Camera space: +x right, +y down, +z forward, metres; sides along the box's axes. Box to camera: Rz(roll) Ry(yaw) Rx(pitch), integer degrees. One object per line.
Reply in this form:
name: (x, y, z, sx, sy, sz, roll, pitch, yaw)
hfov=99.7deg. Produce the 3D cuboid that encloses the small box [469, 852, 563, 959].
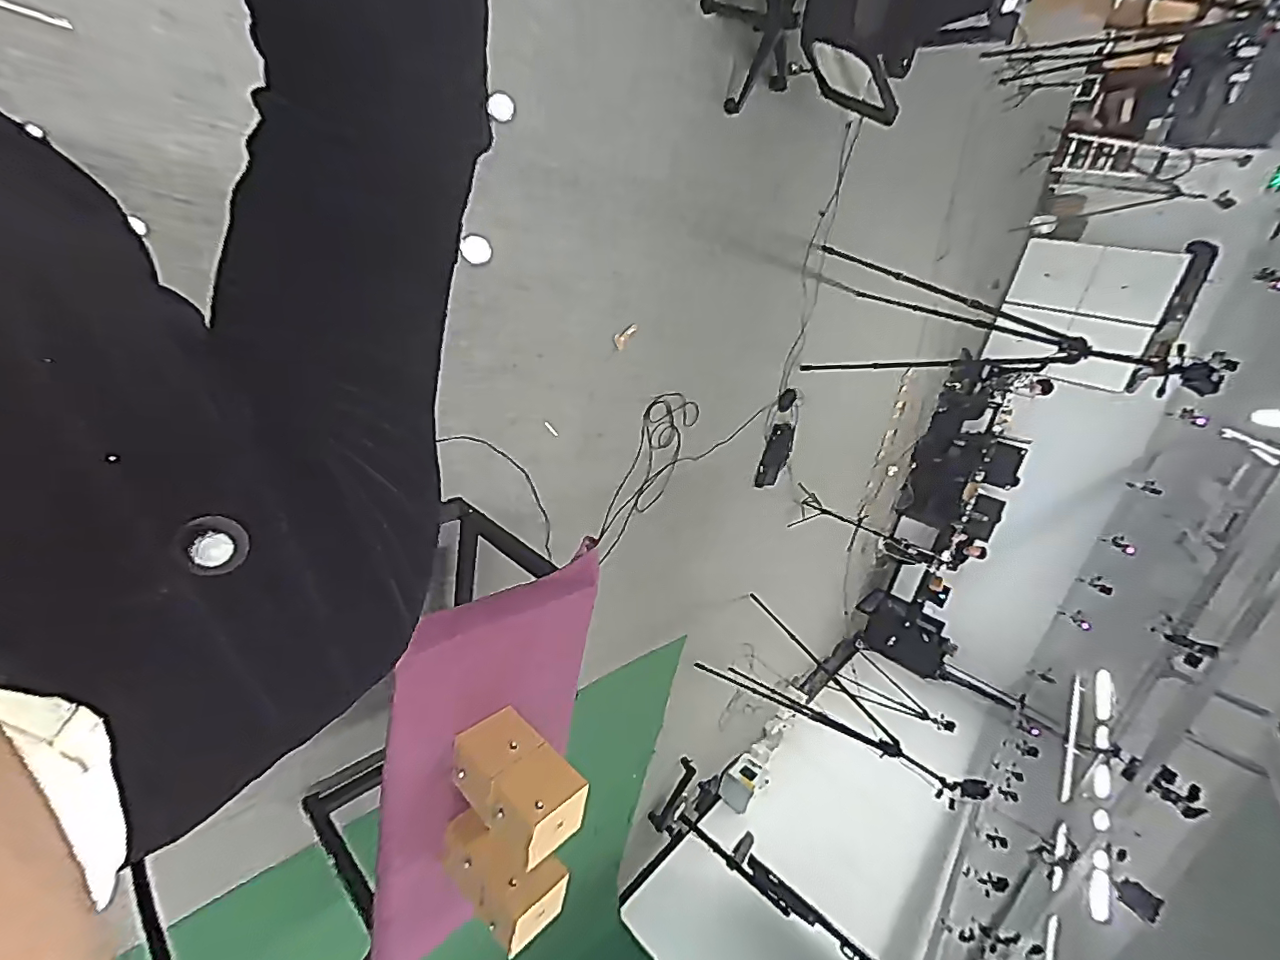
small box: (-0.340, 1.127, 1.468, 0.179, 0.176, 0.168, -11, 121, -50)

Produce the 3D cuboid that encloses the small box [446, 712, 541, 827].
small box: (-0.394, 0.764, 1.450, 0.179, 0.176, 0.168, -13, 122, -48)

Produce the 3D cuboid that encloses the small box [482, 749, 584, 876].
small box: (-0.272, 0.823, 1.361, 0.179, 0.176, 0.168, -13, 122, -48)
